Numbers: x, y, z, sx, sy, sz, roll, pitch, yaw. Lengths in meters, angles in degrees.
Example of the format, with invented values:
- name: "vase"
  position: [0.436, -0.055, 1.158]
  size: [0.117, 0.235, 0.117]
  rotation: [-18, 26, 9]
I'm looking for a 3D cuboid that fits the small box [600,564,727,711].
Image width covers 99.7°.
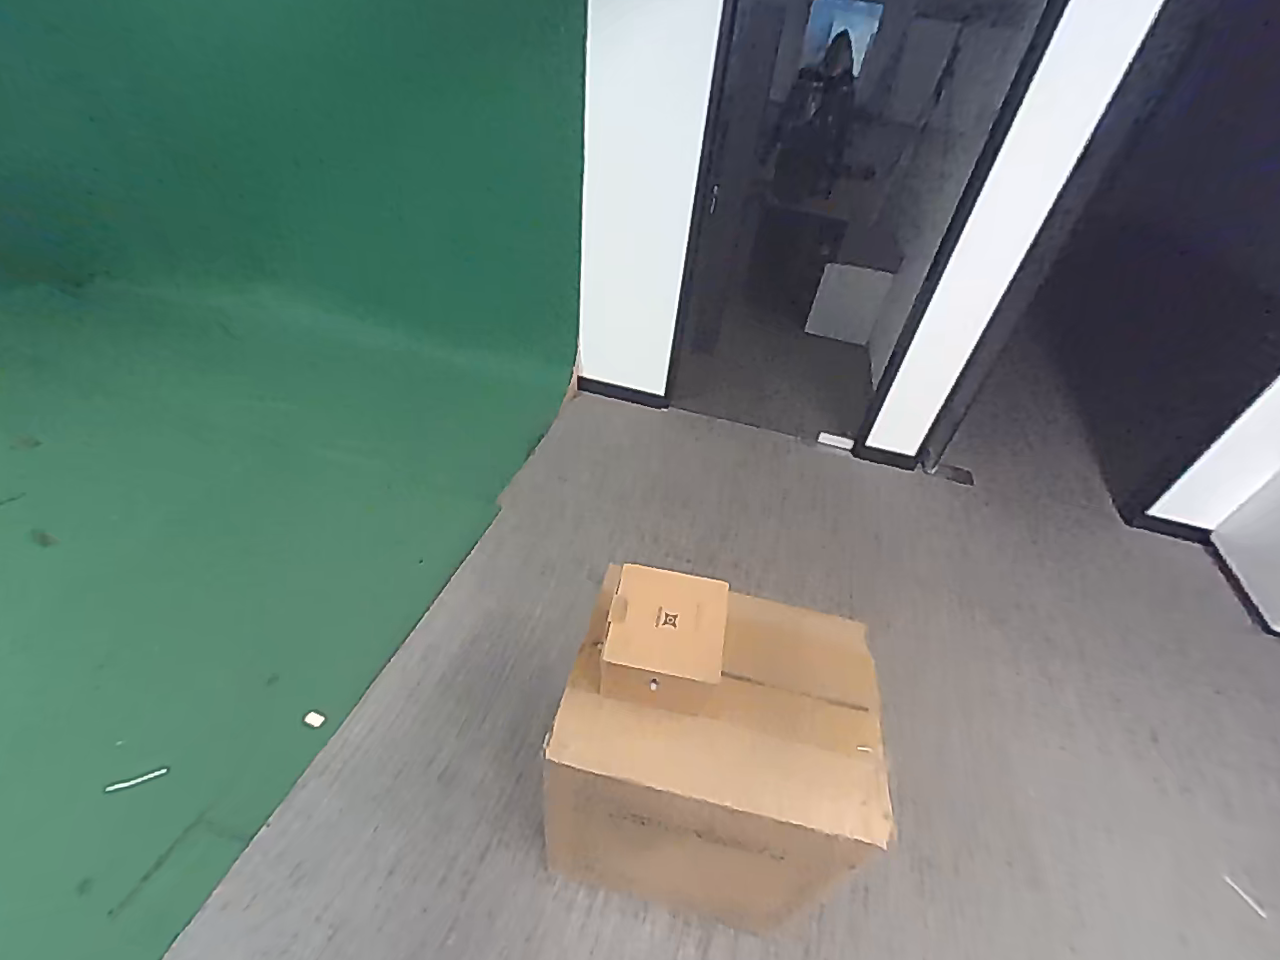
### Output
- name: "small box"
  position: [0.035, 0.263, 0.888]
  size: [0.179, 0.176, 0.168]
  rotation: [11, 52, 3]
